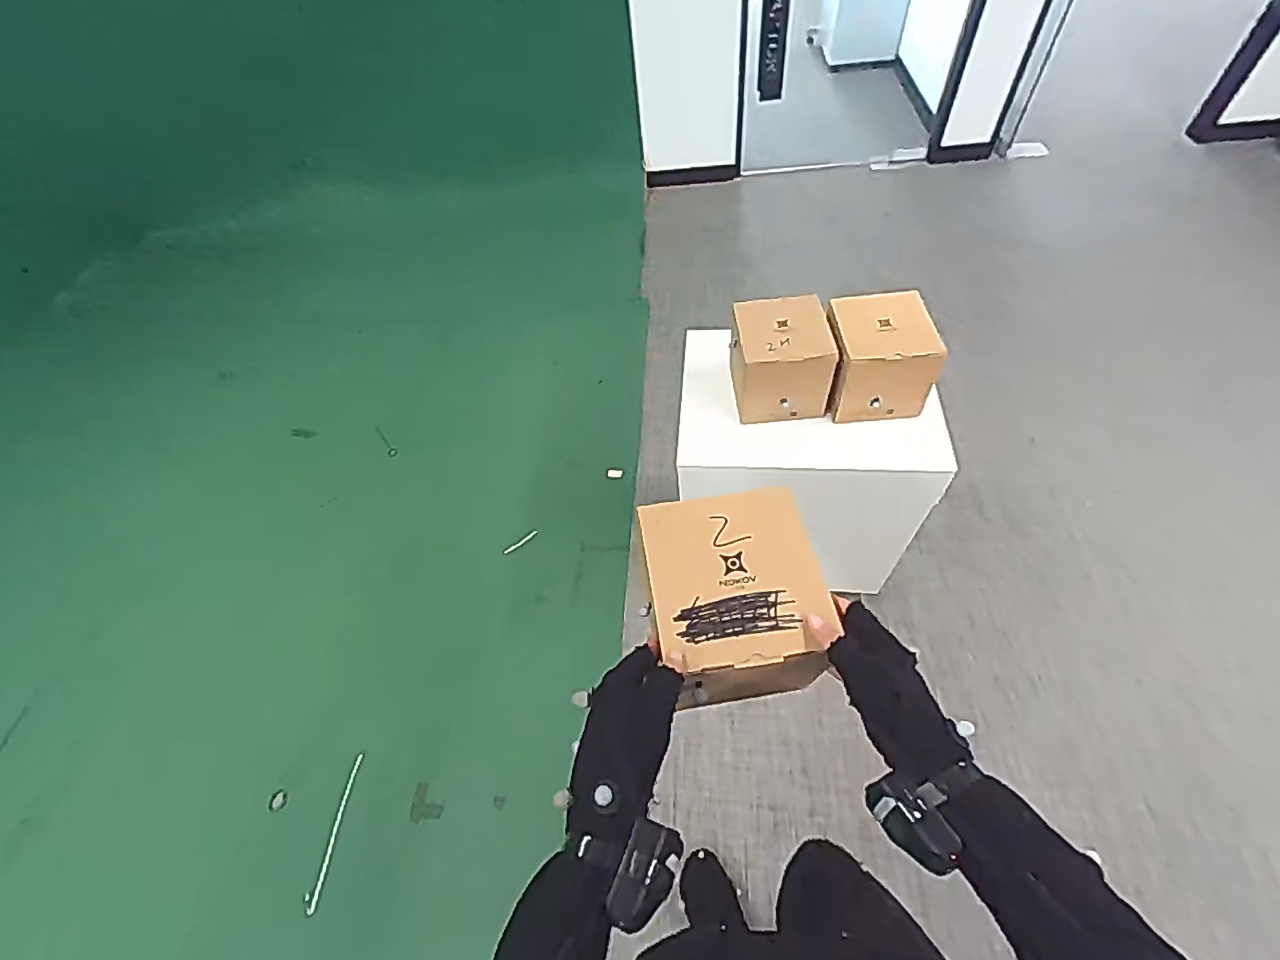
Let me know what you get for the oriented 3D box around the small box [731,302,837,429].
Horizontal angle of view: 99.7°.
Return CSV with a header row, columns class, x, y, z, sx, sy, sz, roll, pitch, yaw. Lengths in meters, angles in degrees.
class,x,y,z,sx,sy,sz,roll,pitch,yaw
small box,0.273,-0.223,1.068,0.168,0.176,0.179,-5,54,4
